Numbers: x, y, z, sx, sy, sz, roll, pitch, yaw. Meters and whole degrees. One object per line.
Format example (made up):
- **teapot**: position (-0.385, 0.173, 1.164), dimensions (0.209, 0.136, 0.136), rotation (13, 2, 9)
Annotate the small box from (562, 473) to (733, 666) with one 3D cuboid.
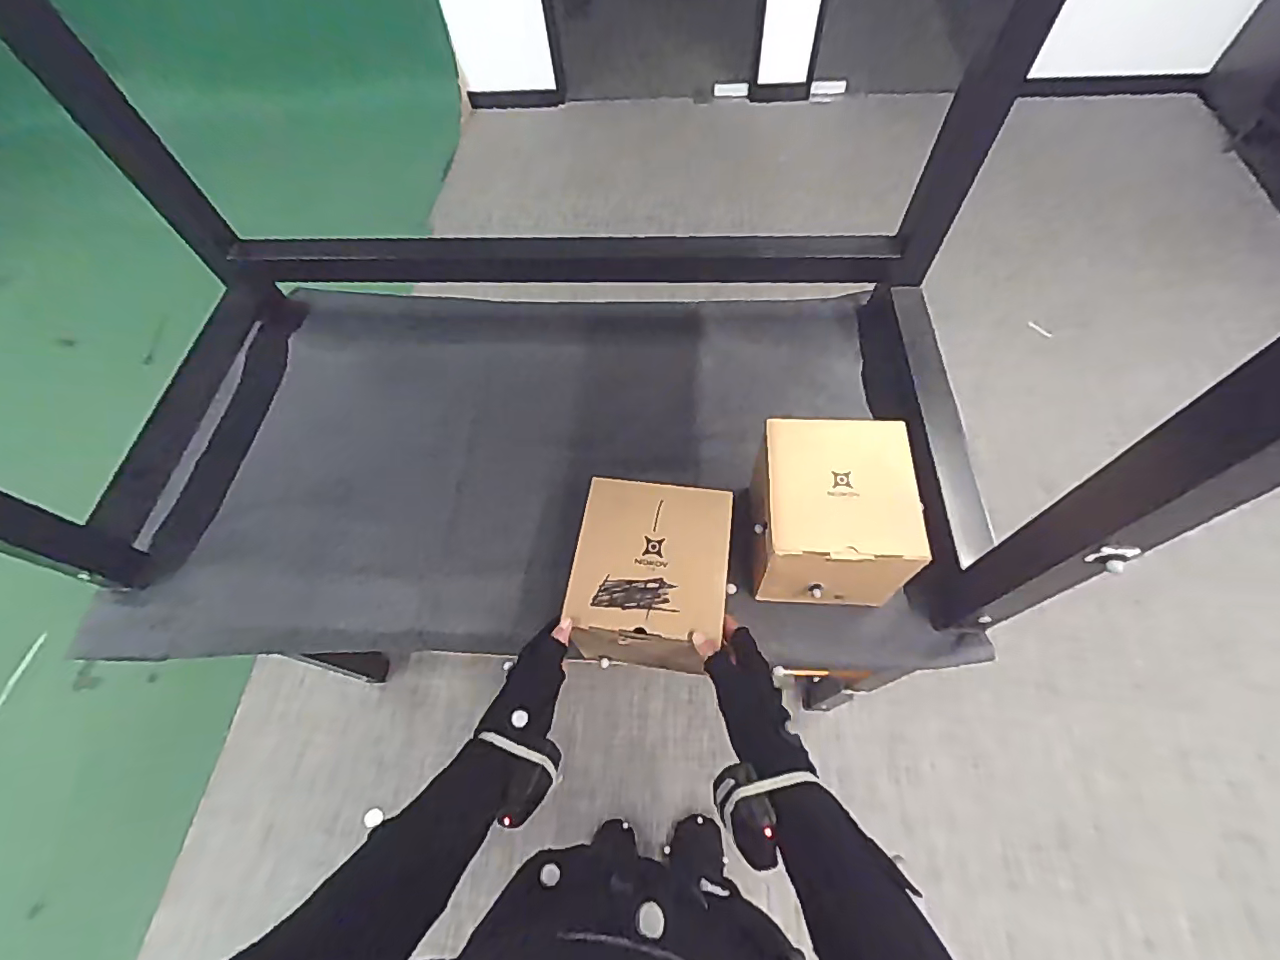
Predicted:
- **small box**: position (0.019, 0.113, 0.649), dimensions (0.168, 0.176, 0.179), rotation (6, 61, 8)
